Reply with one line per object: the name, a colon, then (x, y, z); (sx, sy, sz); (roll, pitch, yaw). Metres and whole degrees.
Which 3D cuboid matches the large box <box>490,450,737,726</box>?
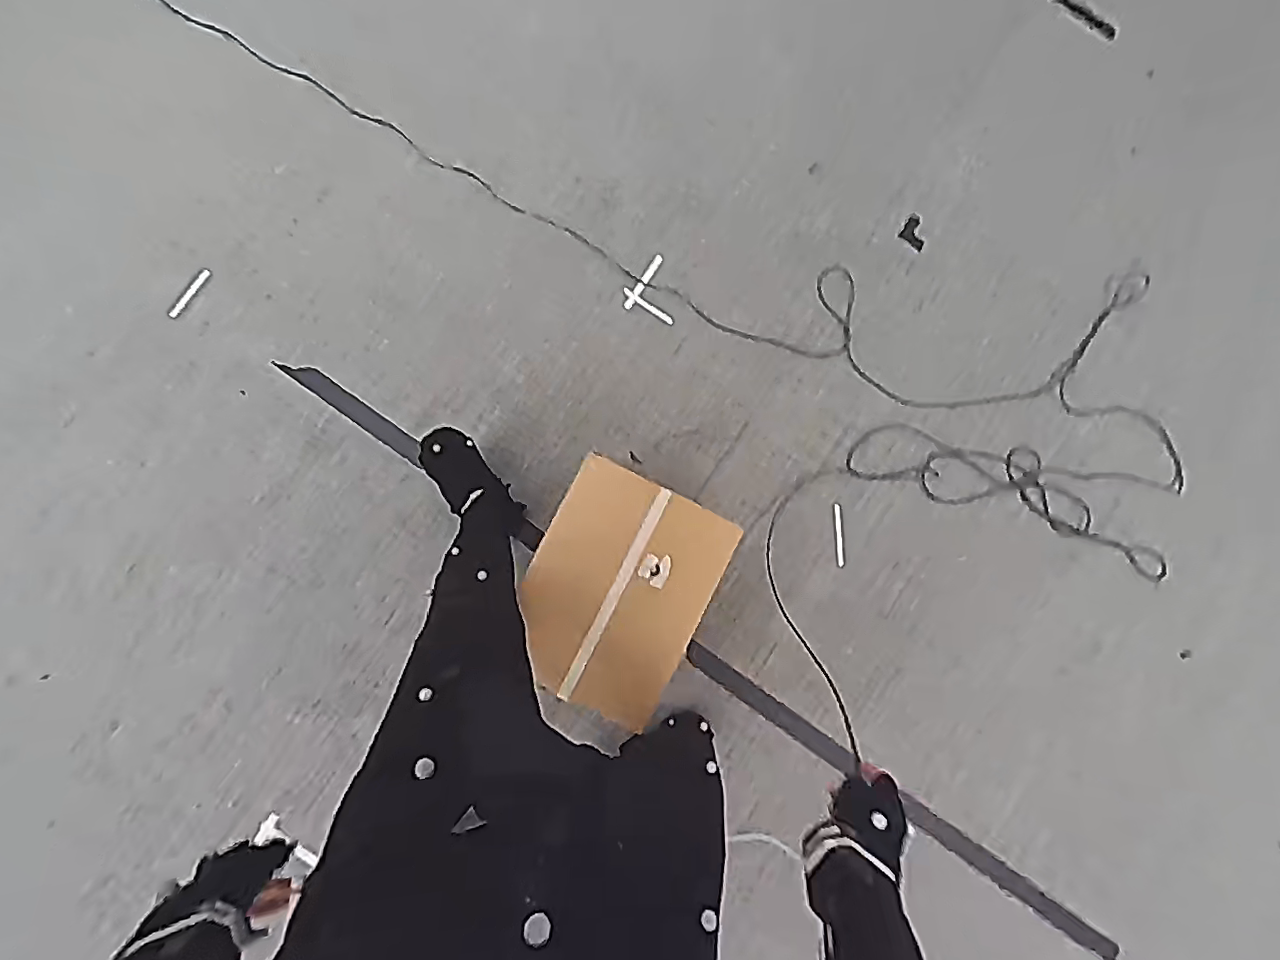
large box: (-0.045, 0.204, 1.112); (0.320, 0.320, 0.408); (28, 85, 2)
